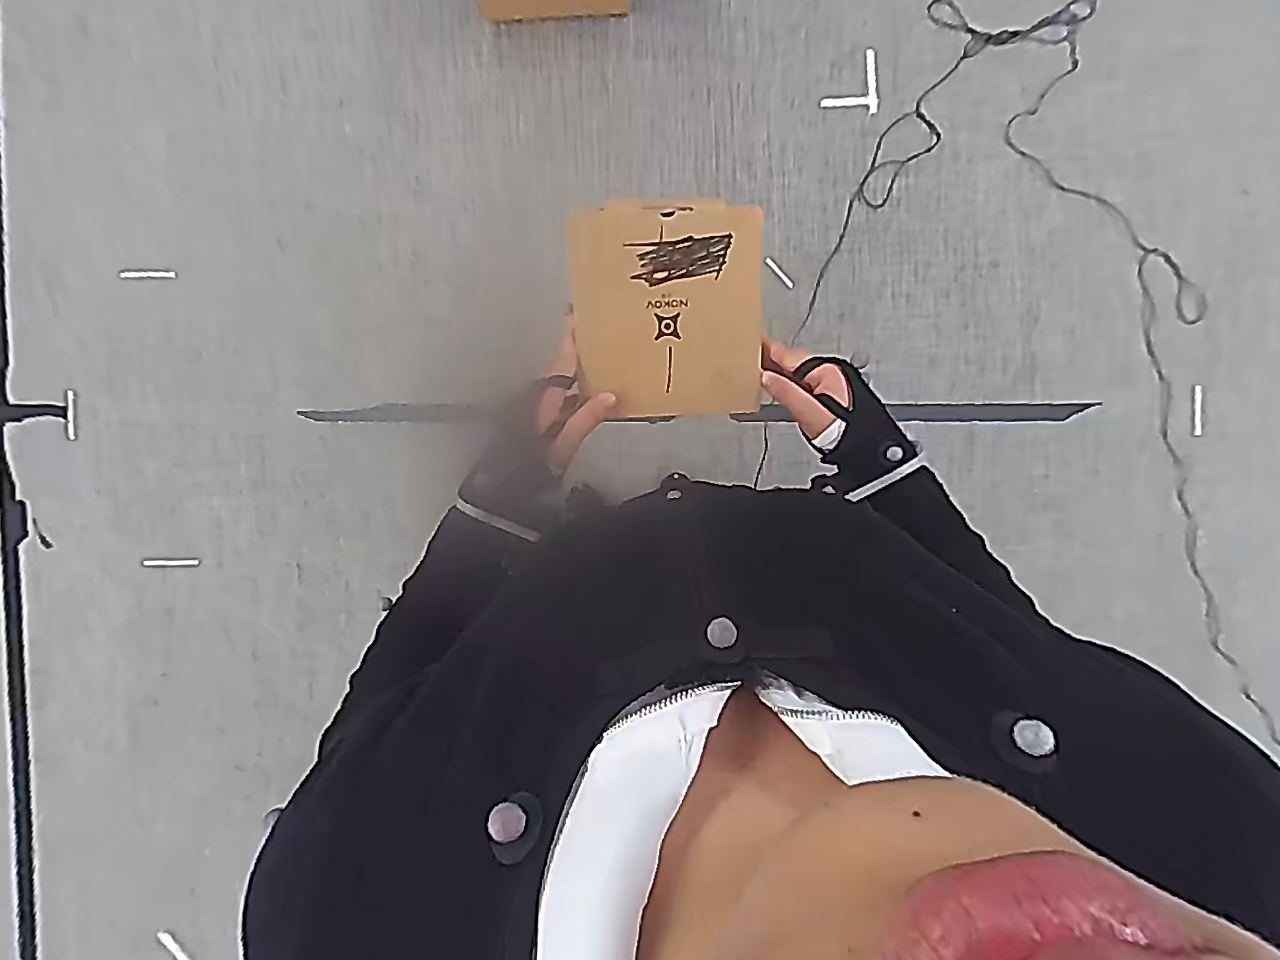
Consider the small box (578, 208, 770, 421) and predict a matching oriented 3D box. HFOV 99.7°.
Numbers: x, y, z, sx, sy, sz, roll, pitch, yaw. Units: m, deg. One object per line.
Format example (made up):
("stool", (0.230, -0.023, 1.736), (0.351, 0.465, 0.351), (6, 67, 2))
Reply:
("small box", (0.024, -0.154, 0.541), (0.168, 0.176, 0.179), (-2, 102, -3))
